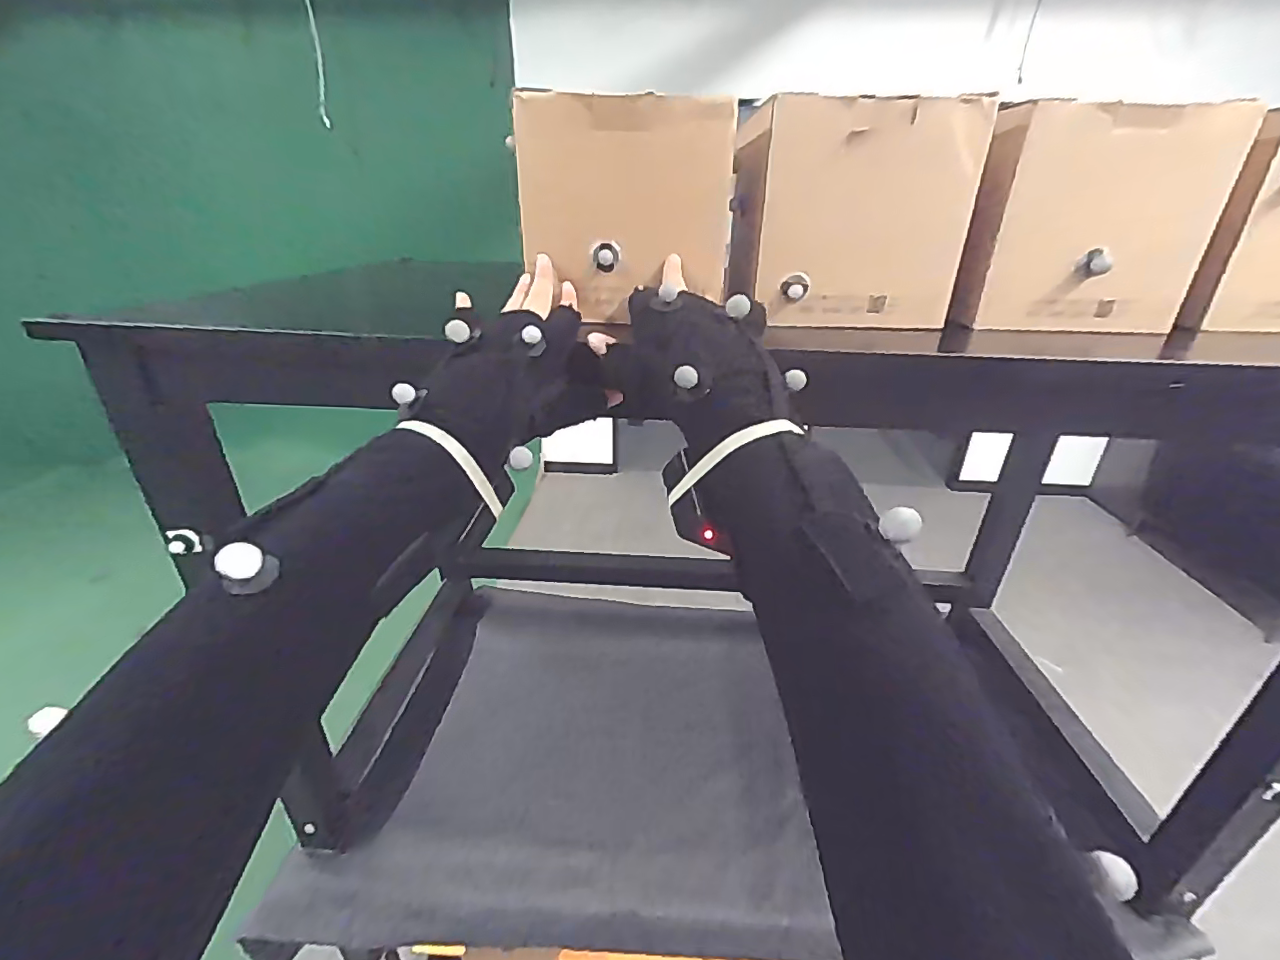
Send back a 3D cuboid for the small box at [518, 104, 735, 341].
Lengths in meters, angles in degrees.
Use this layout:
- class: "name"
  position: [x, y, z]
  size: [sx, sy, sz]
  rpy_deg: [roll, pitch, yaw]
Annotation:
- class: "small box"
  position: [-0.011, -0.236, 0.509]
  size: [0.168, 0.176, 0.179]
  rpy_deg: [1, 27, 0]
